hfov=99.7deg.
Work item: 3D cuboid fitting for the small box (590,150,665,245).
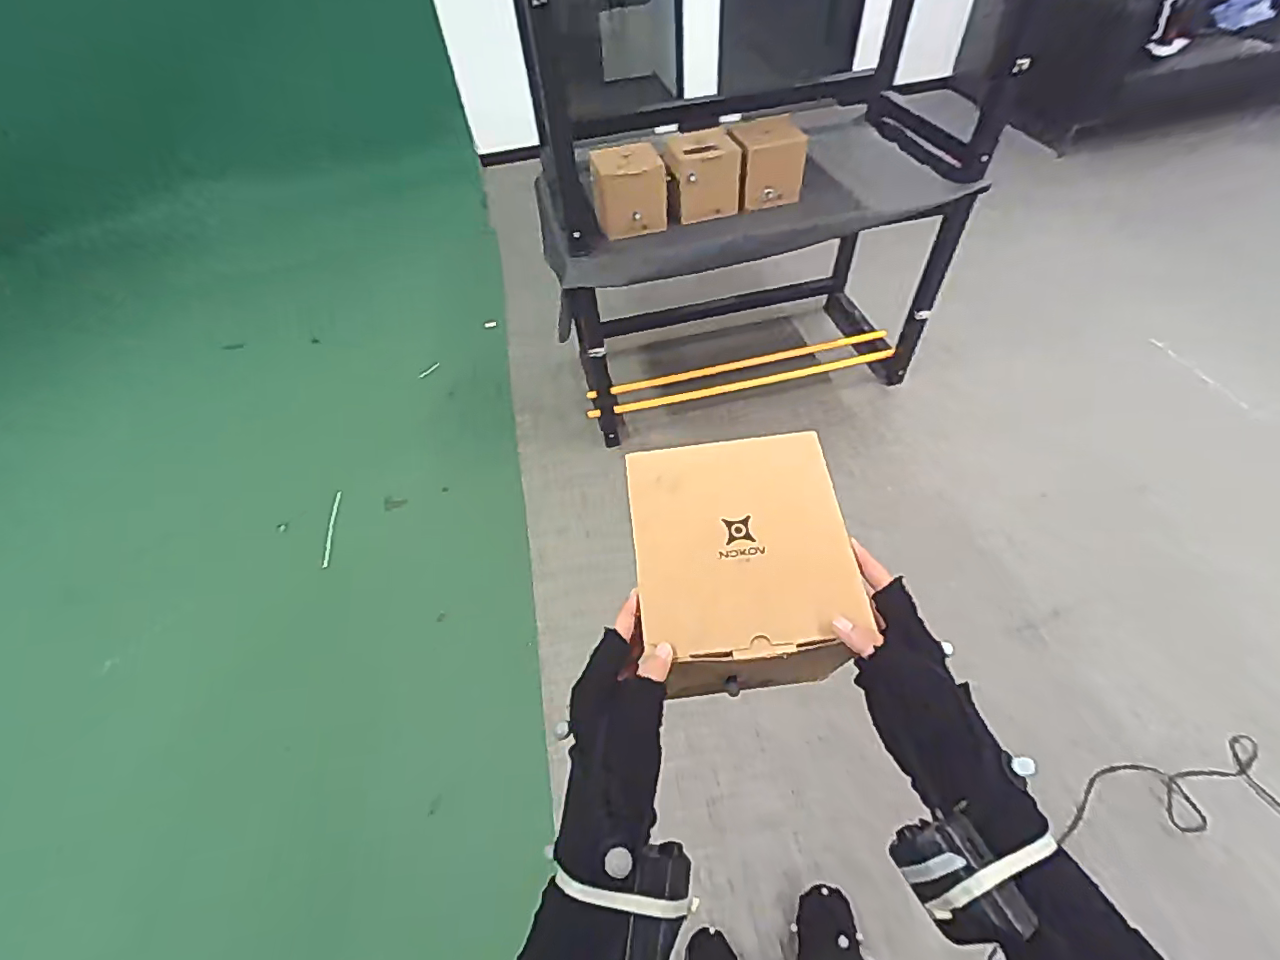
[{"bbox_3d":[-0.034,-0.768,1.474,0.168,0.176,0.179,-14,51,-6],"label":"small box"}]
